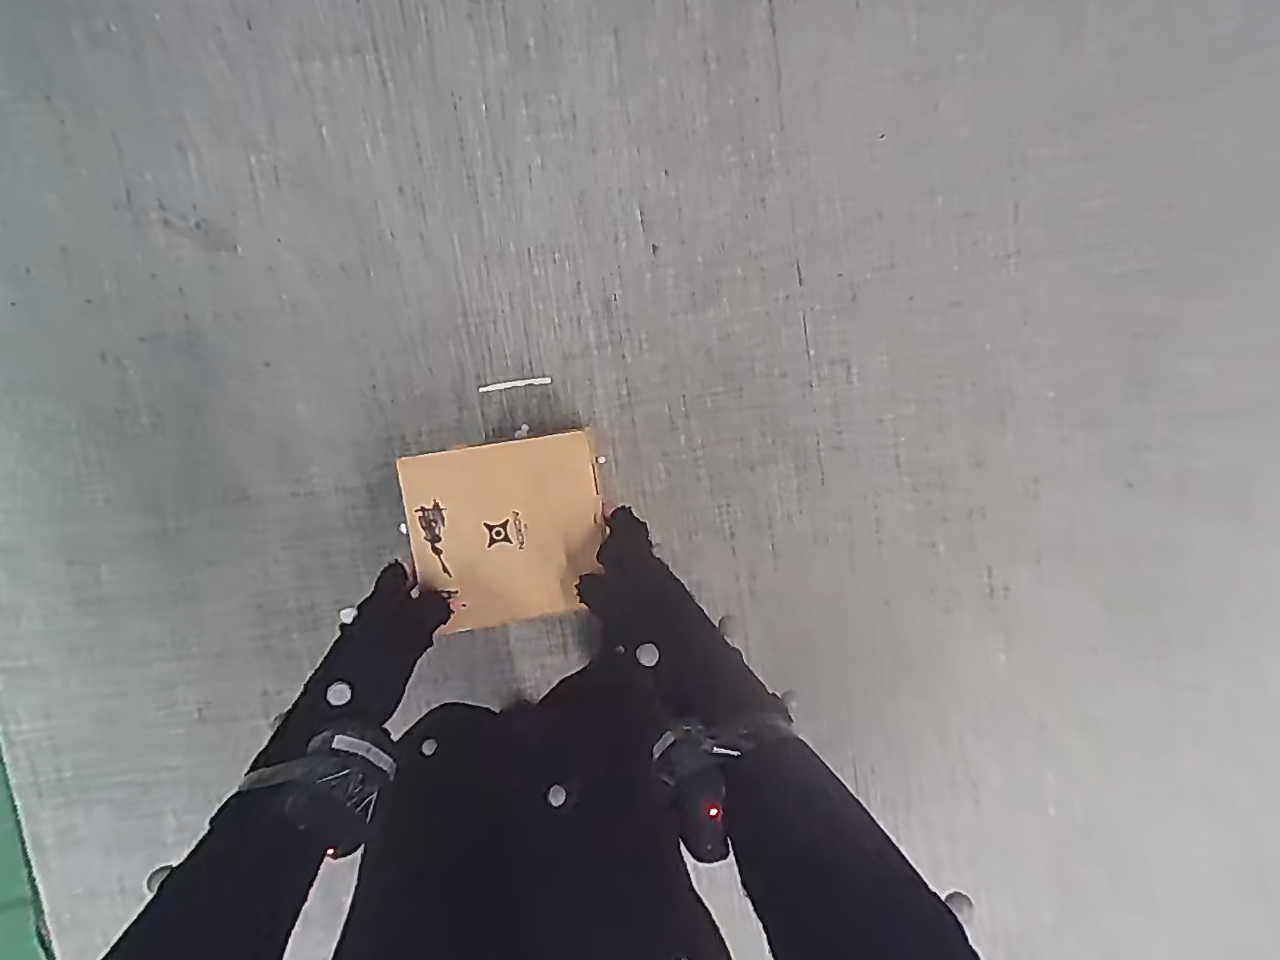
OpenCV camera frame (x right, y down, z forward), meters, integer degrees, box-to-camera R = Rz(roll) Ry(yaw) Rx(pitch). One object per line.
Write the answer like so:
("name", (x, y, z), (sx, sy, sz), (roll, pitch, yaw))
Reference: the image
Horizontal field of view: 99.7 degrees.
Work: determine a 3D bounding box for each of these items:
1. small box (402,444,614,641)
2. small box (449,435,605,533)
("small box", (-0.128, 0.053, 0.577), (0.179, 0.176, 0.168), (-8, 92, -5))
("small box", (-0.145, 0.028, 0.761), (0.179, 0.176, 0.168), (-8, 95, 0))
